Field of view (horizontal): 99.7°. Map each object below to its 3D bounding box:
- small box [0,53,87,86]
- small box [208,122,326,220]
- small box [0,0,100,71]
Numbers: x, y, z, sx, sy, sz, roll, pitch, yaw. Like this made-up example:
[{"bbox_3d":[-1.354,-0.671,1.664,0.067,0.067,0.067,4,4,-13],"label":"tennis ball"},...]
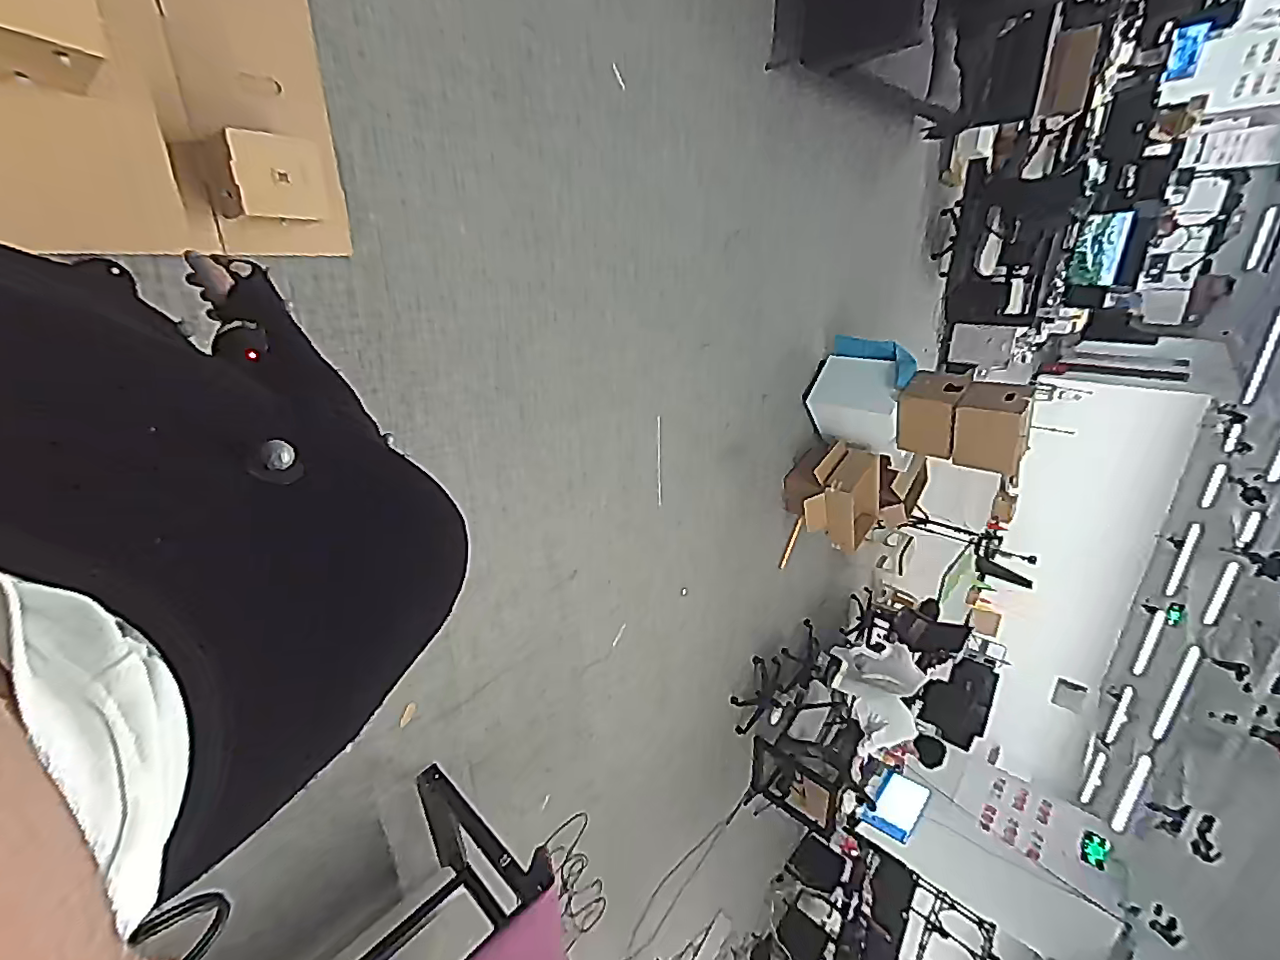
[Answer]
[{"bbox_3d":[-1.081,-0.799,0.915,0.179,0.176,0.168,-12,113,-47],"label":"small box"},{"bbox_3d":[-0.850,-0.689,1.228,0.179,0.176,0.168,-20,119,-43],"label":"small box"},{"bbox_3d":[-0.958,-0.752,0.814,0.179,0.176,0.168,-12,113,-46],"label":"small box"}]
